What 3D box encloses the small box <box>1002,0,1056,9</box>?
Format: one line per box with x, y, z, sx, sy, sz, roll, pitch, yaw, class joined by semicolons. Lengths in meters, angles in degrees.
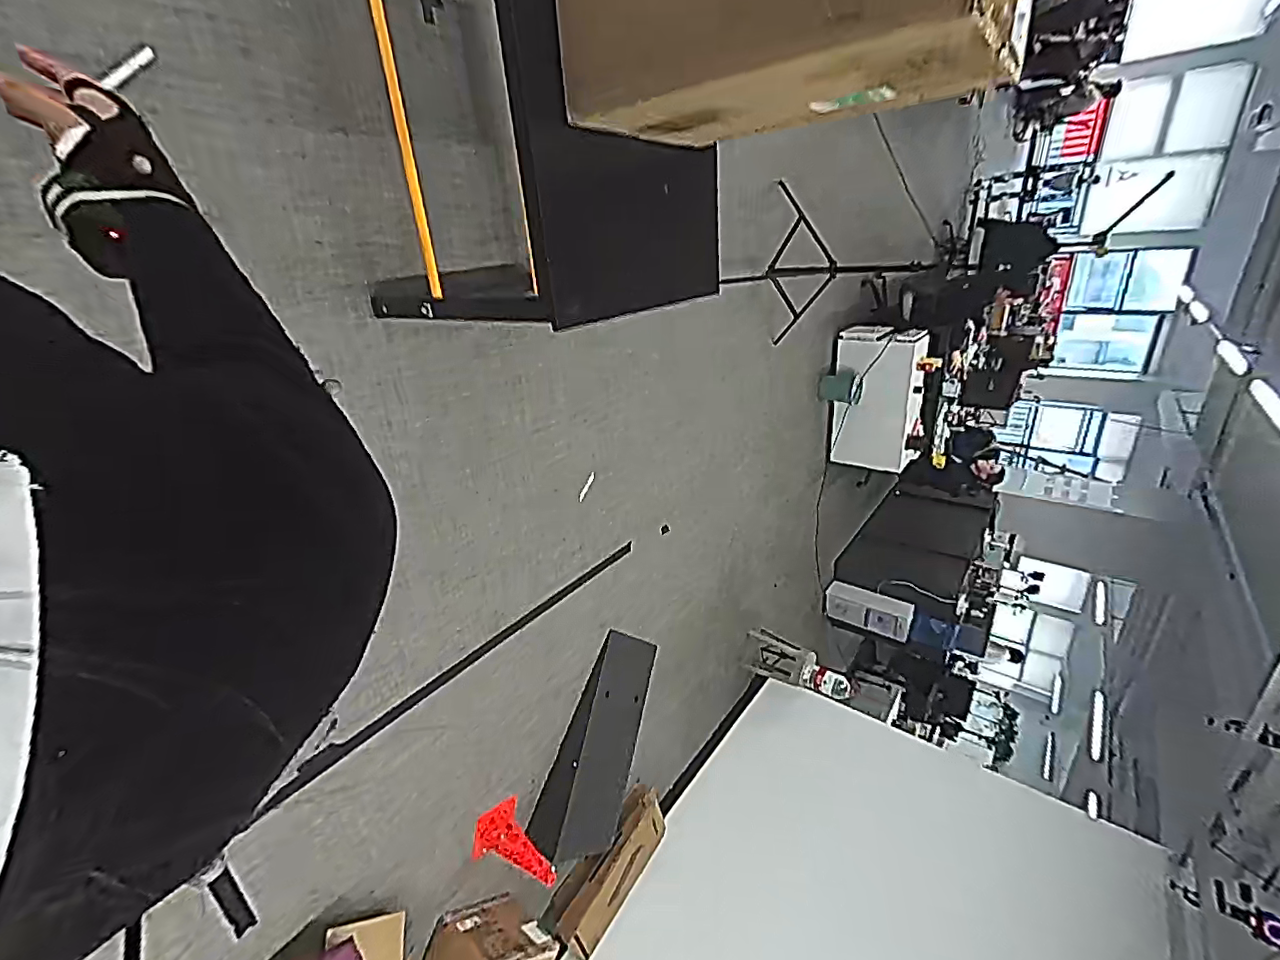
0.489;-0.637;0.572;0.179;0.176;0.168;-32;124;-43;small box
